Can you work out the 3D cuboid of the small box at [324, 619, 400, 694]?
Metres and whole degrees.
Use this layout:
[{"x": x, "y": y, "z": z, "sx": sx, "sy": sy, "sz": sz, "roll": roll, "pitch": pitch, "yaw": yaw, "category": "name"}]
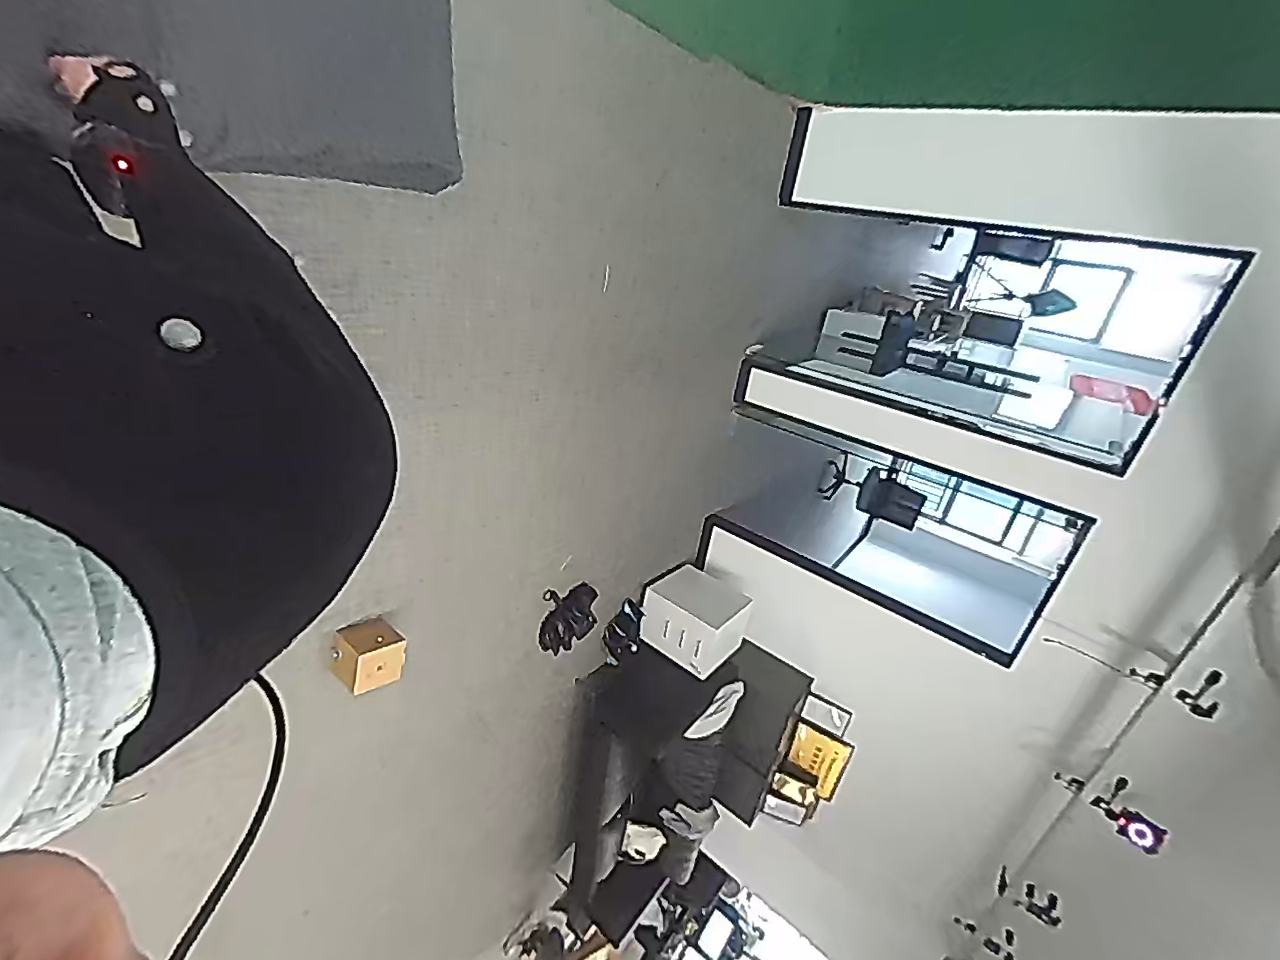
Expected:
[{"x": -0.996, "y": 0.622, "z": 1.935, "sx": 0.179, "sy": 0.176, "sz": 0.168, "roll": -8, "pitch": 116, "yaw": -55, "category": "small box"}]
